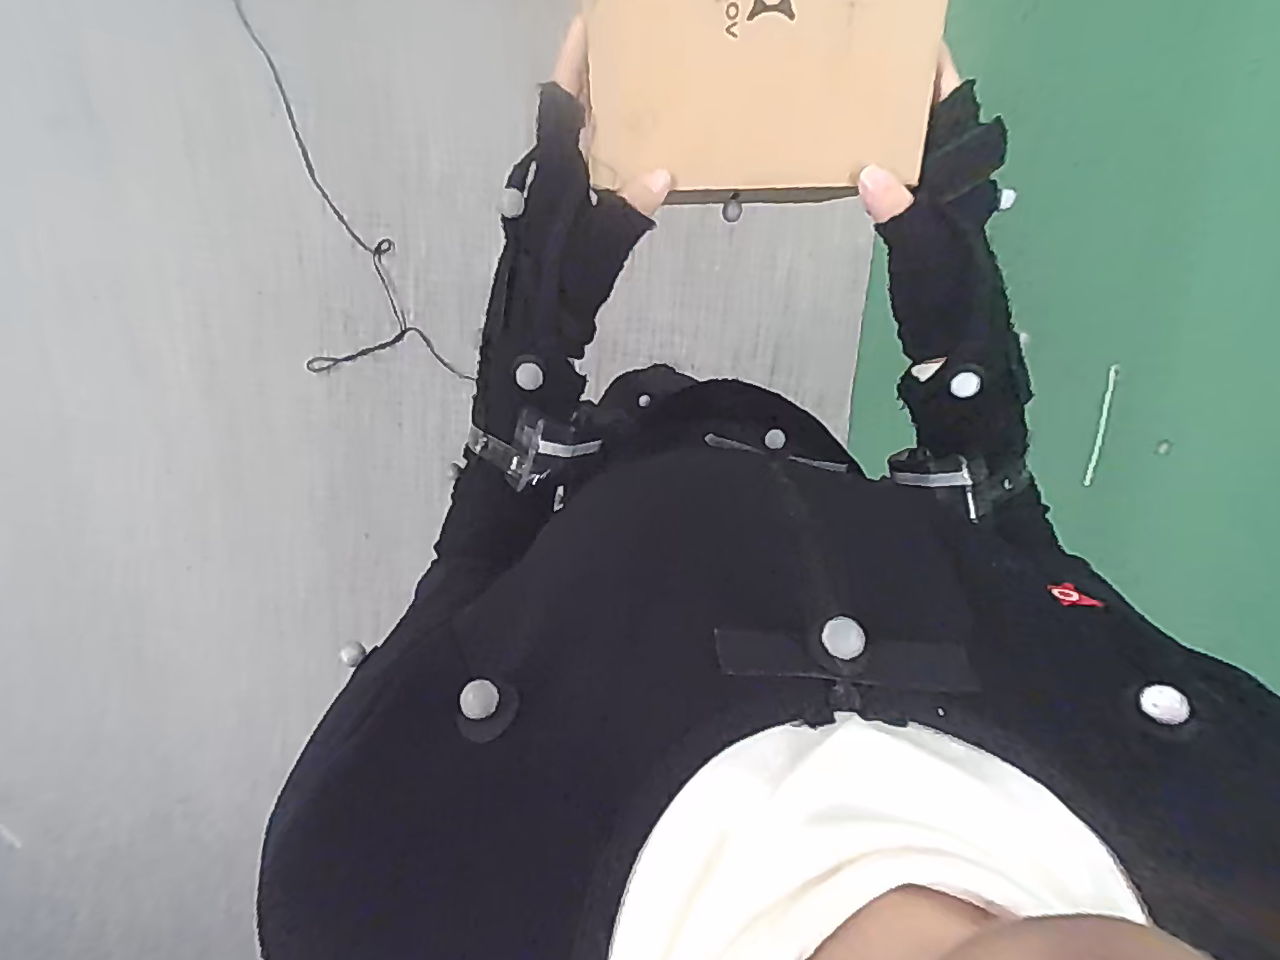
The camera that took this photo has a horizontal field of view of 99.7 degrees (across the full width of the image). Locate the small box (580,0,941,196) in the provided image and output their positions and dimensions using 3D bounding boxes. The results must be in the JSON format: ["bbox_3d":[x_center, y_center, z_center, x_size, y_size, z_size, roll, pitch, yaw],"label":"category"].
[{"bbox_3d":[0.058,-0.270,0.328,0.179,0.176,0.168,-2,116,0],"label":"small box"}]
